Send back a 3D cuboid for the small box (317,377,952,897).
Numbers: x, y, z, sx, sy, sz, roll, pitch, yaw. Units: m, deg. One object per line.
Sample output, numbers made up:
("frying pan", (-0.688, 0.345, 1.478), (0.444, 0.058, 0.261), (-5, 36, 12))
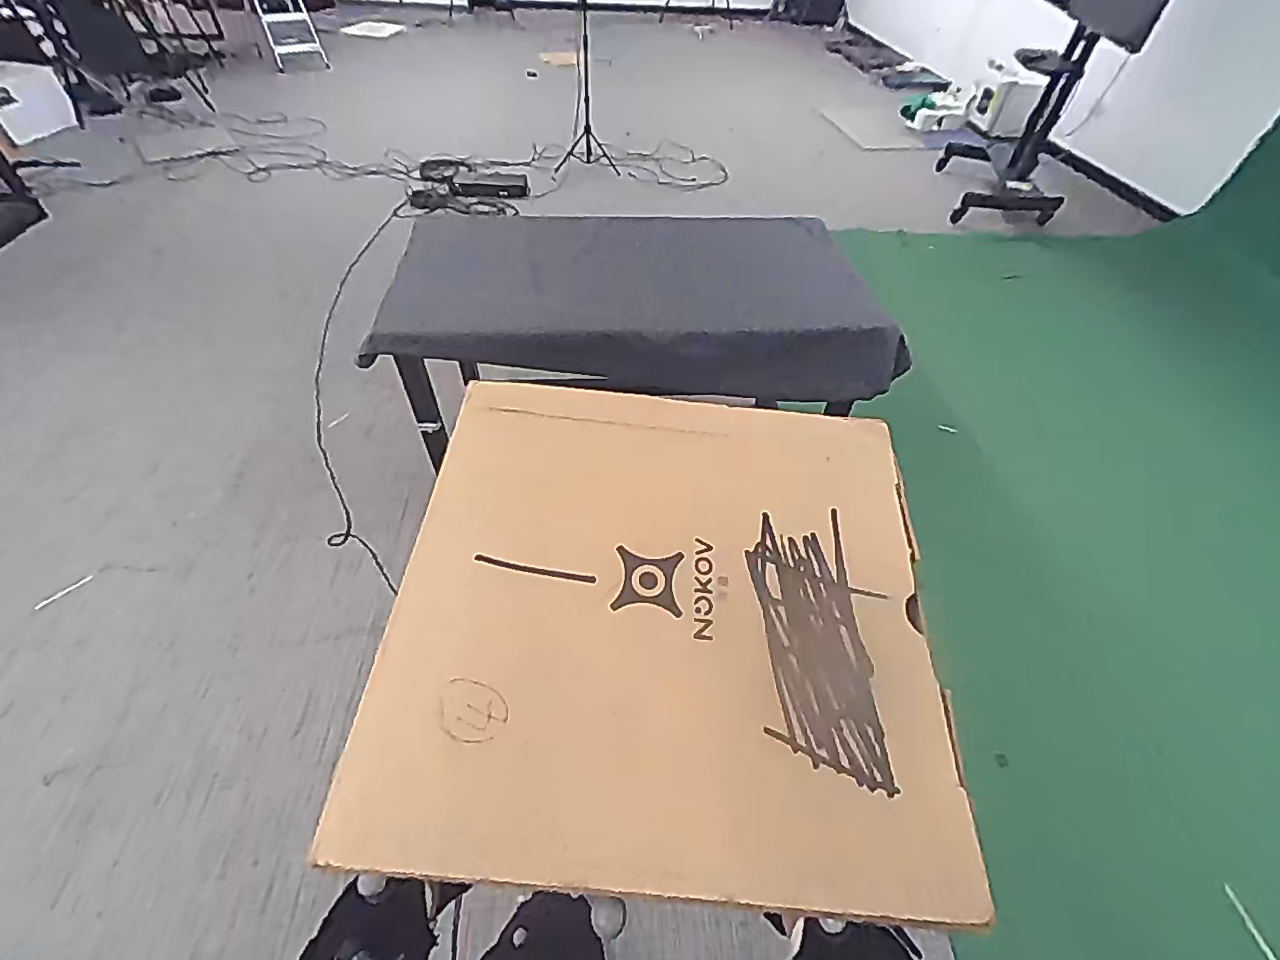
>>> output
("small box", (0.000, 0.078, 0.254), (0.179, 0.176, 0.168), (6, 56, -1))
